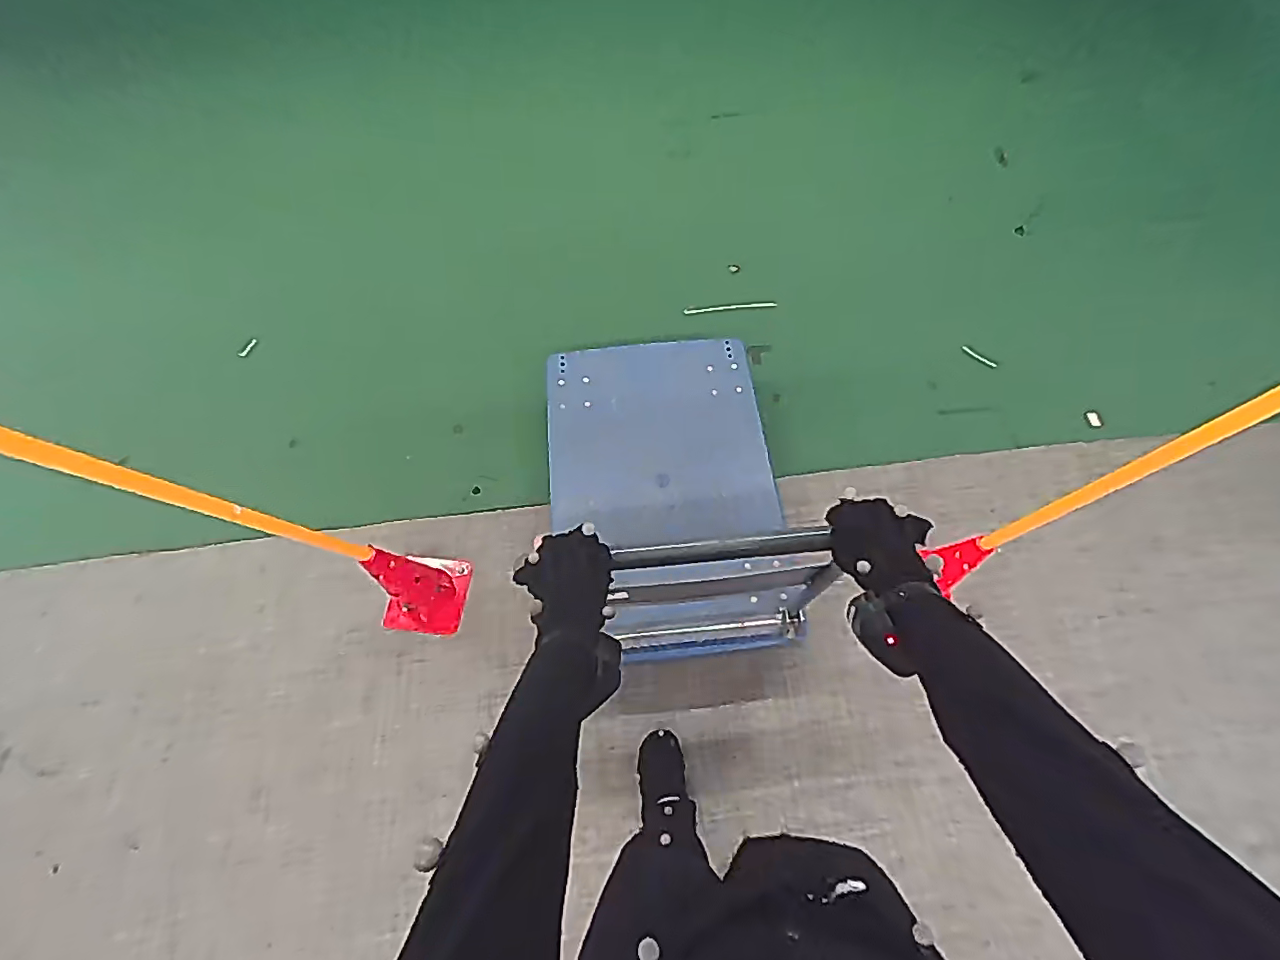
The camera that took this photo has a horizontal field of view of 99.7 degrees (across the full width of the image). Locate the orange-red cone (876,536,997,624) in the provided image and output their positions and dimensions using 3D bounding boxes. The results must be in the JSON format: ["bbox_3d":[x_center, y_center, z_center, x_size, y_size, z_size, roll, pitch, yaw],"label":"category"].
[{"bbox_3d":[0.727,0.208,1.278,0.198,0.360,0.199,3,66,3],"label":"orange-red cone"}]
